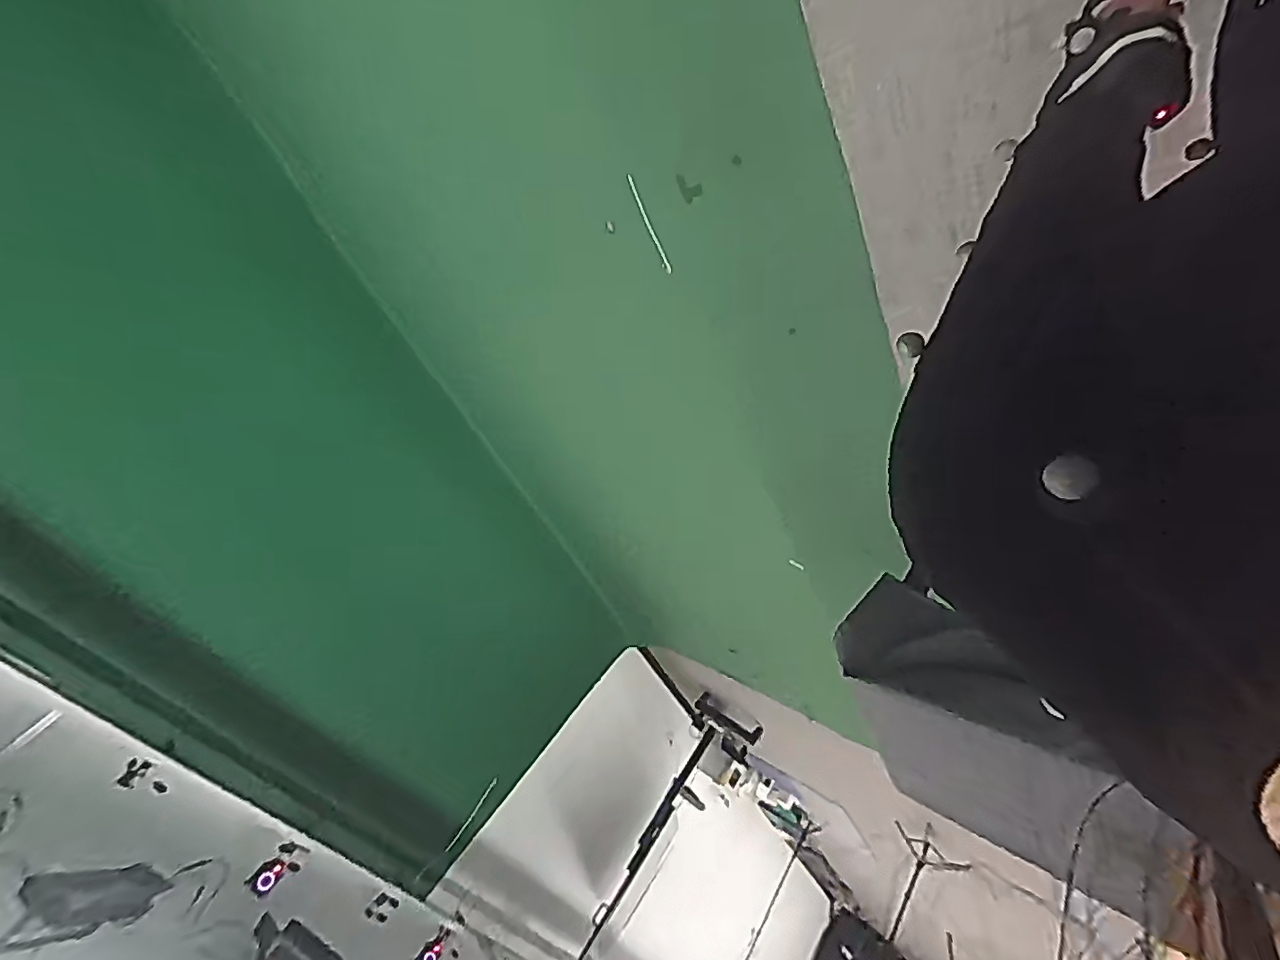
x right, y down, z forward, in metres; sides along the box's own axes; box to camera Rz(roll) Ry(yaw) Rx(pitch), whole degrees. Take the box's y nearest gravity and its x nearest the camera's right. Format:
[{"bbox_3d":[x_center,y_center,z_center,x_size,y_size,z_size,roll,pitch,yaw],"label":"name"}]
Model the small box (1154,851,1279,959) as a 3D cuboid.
[{"bbox_3d":[1.000,0.780,0.906,0.168,0.176,0.179,-2,129,53],"label":"small box"}]
